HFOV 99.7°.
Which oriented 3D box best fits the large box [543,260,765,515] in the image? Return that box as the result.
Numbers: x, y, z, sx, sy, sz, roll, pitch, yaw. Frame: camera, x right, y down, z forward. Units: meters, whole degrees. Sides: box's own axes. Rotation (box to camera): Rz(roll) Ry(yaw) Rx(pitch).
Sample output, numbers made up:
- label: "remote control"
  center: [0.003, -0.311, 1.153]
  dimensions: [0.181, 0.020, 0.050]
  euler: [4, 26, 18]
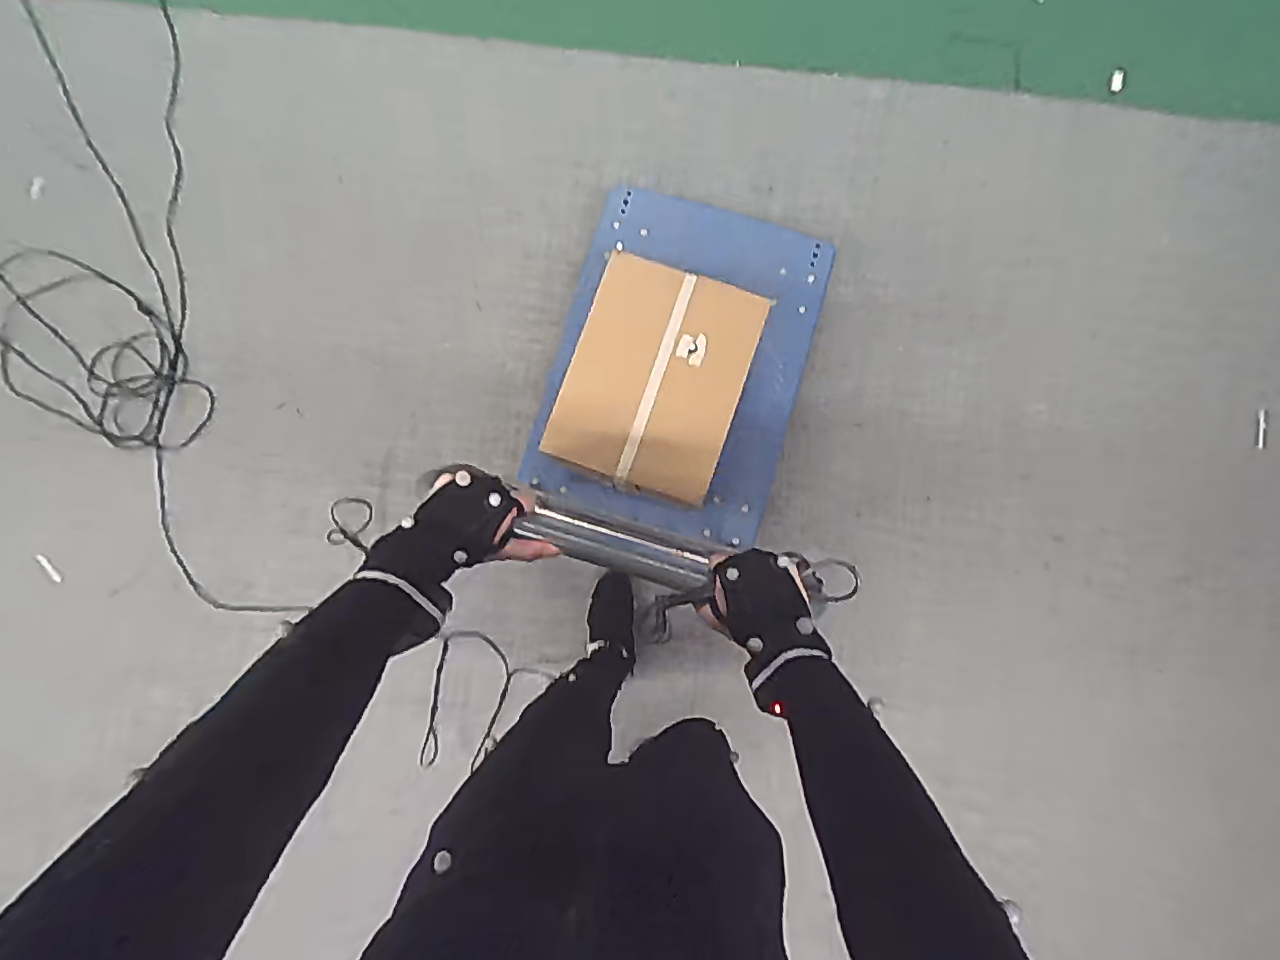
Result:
- label: "large box"
  center: [0.031, -0.166, 1.139]
  dimensions: [0.320, 0.320, 0.408]
  euler: [19, 84, 2]
